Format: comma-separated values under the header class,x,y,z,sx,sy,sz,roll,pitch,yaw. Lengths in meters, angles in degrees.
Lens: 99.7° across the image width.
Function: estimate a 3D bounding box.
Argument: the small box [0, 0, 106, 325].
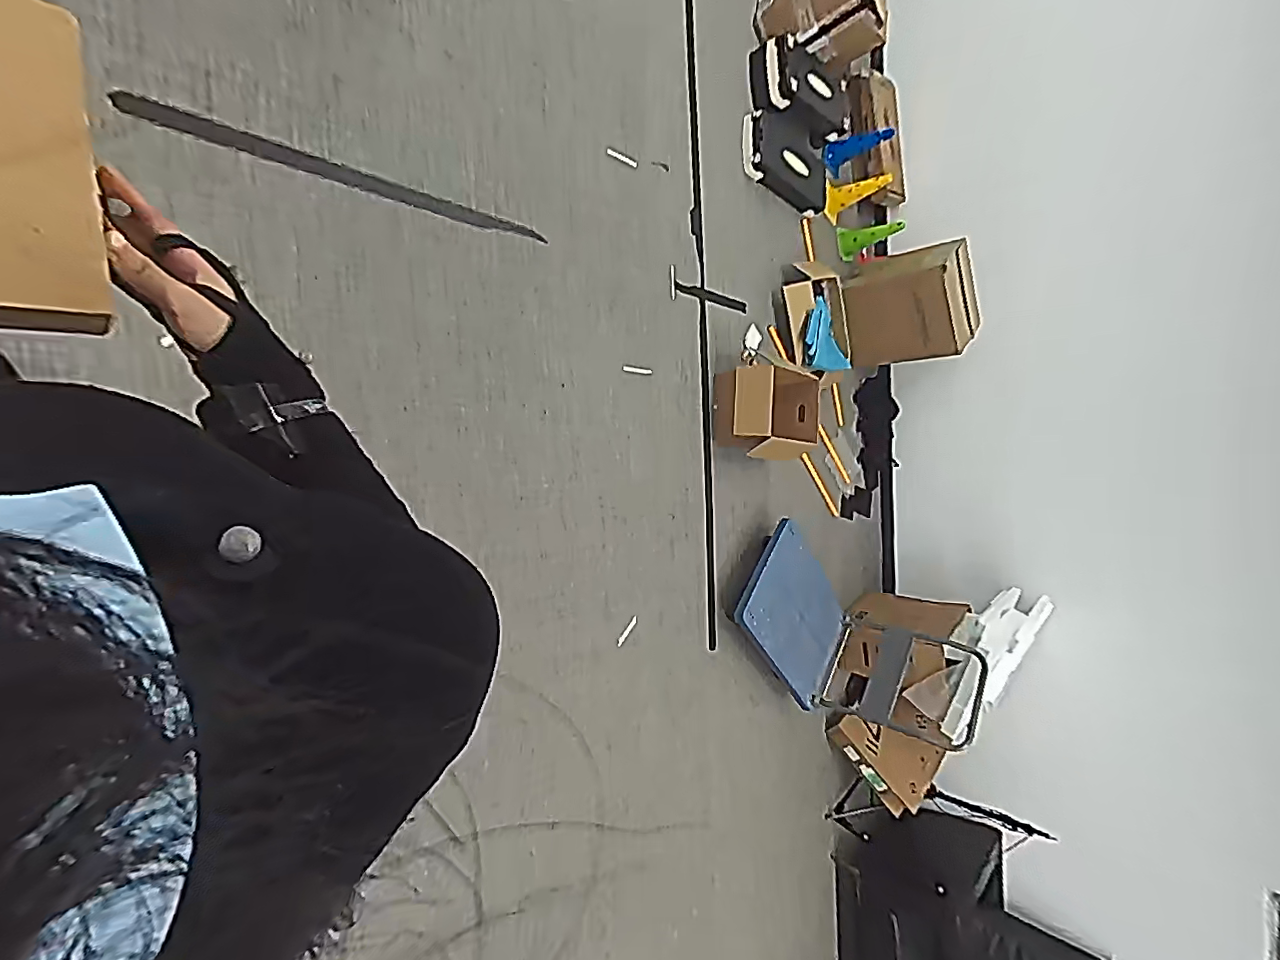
class,x,y,z,sx,sy,sz,roll,pitch,yaw
small box,-0.445,-0.195,0.326,0.168,0.176,0.179,-7,101,-46
